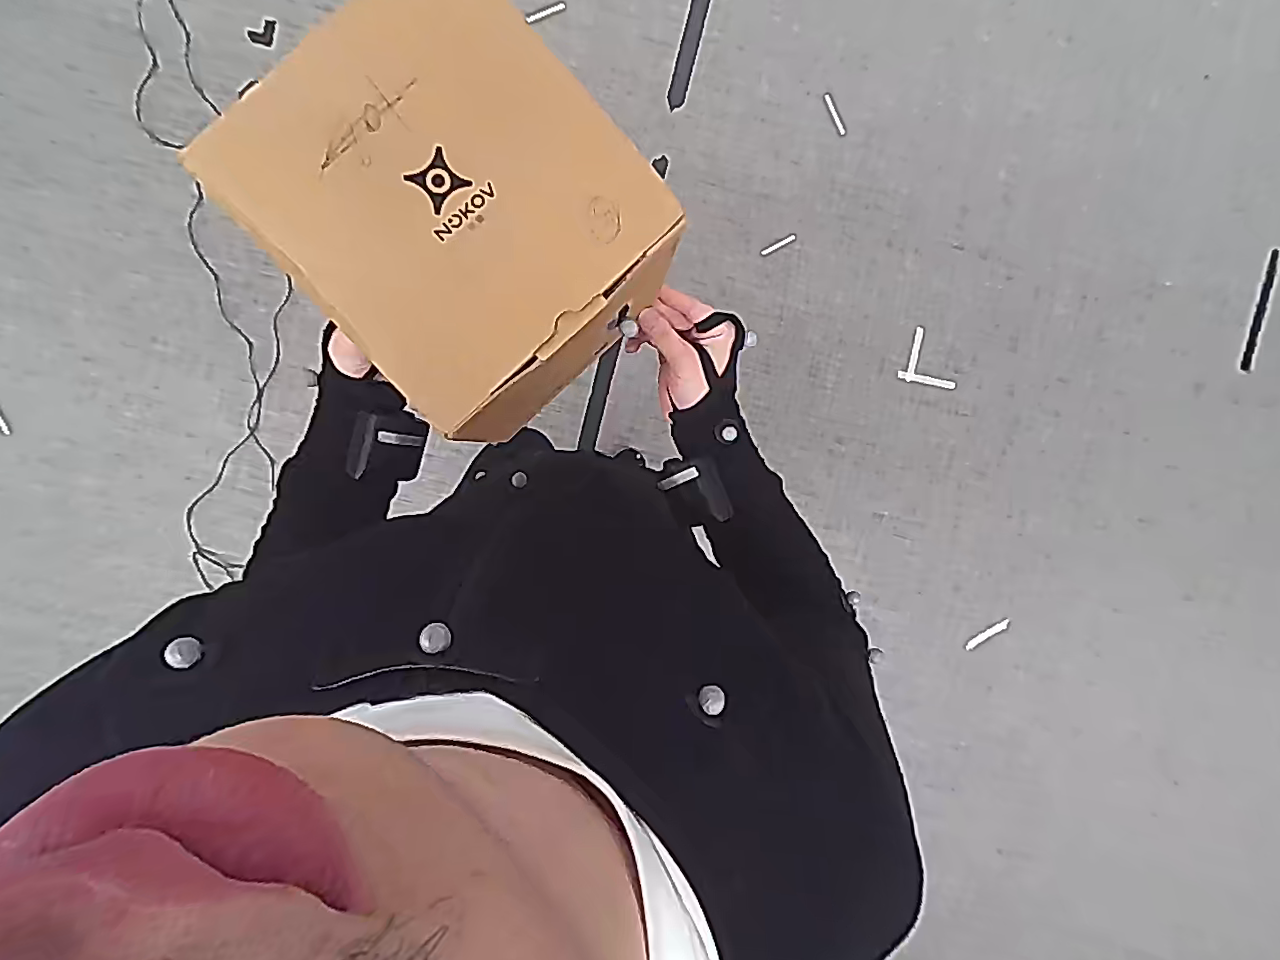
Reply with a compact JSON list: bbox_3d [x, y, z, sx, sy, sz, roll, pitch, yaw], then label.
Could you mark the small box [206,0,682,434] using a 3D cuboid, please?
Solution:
[{"bbox_3d":[-0.099,-0.146,0.348,0.168,0.176,0.179,-43,95,-2],"label":"small box"}]
